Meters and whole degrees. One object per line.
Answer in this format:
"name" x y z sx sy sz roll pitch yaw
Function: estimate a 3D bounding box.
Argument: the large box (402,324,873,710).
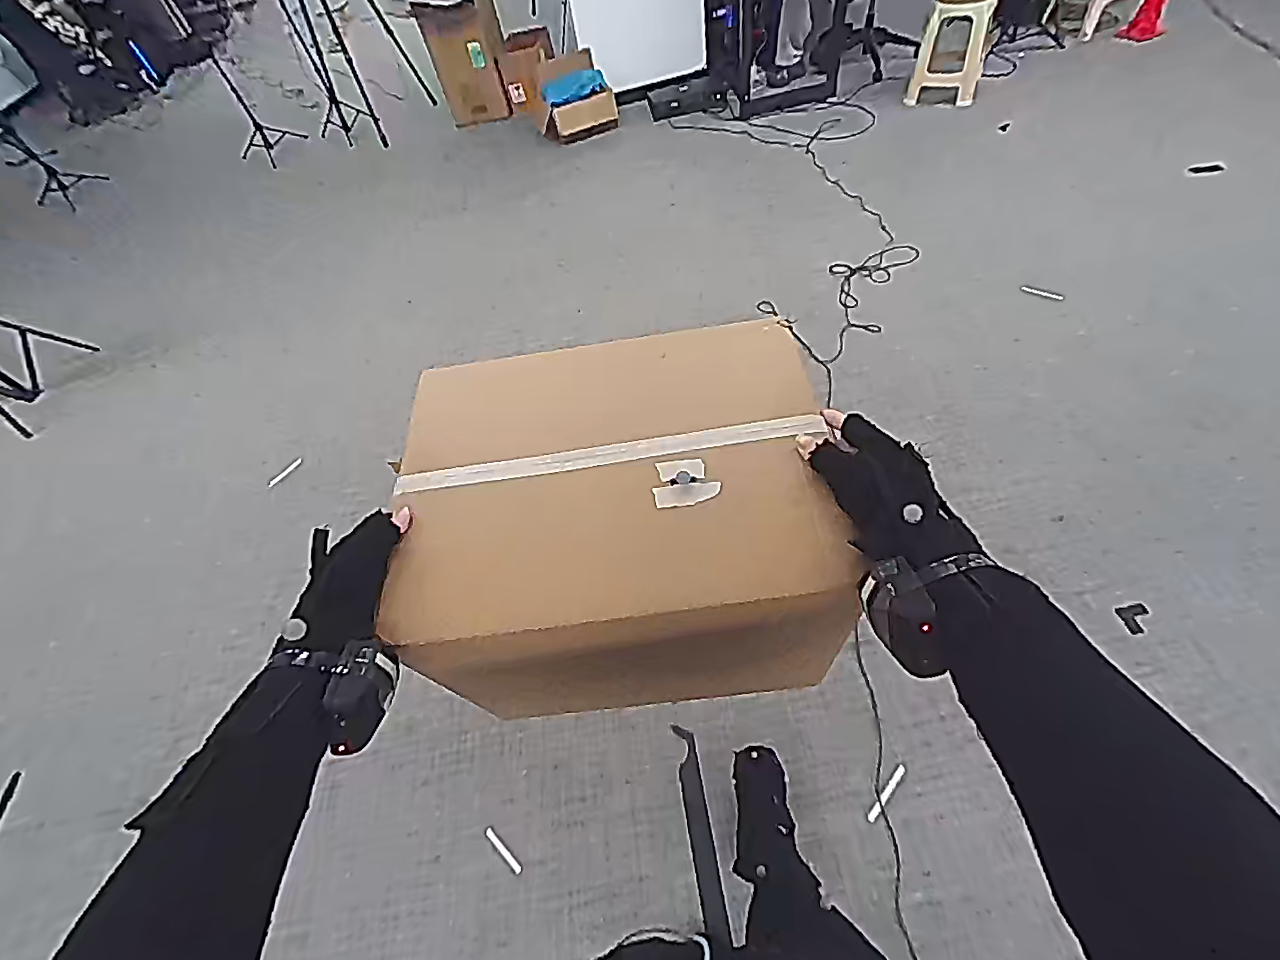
"large box" -0.004 0.060 0.649 0.408 0.320 0.320 -8 56 2
